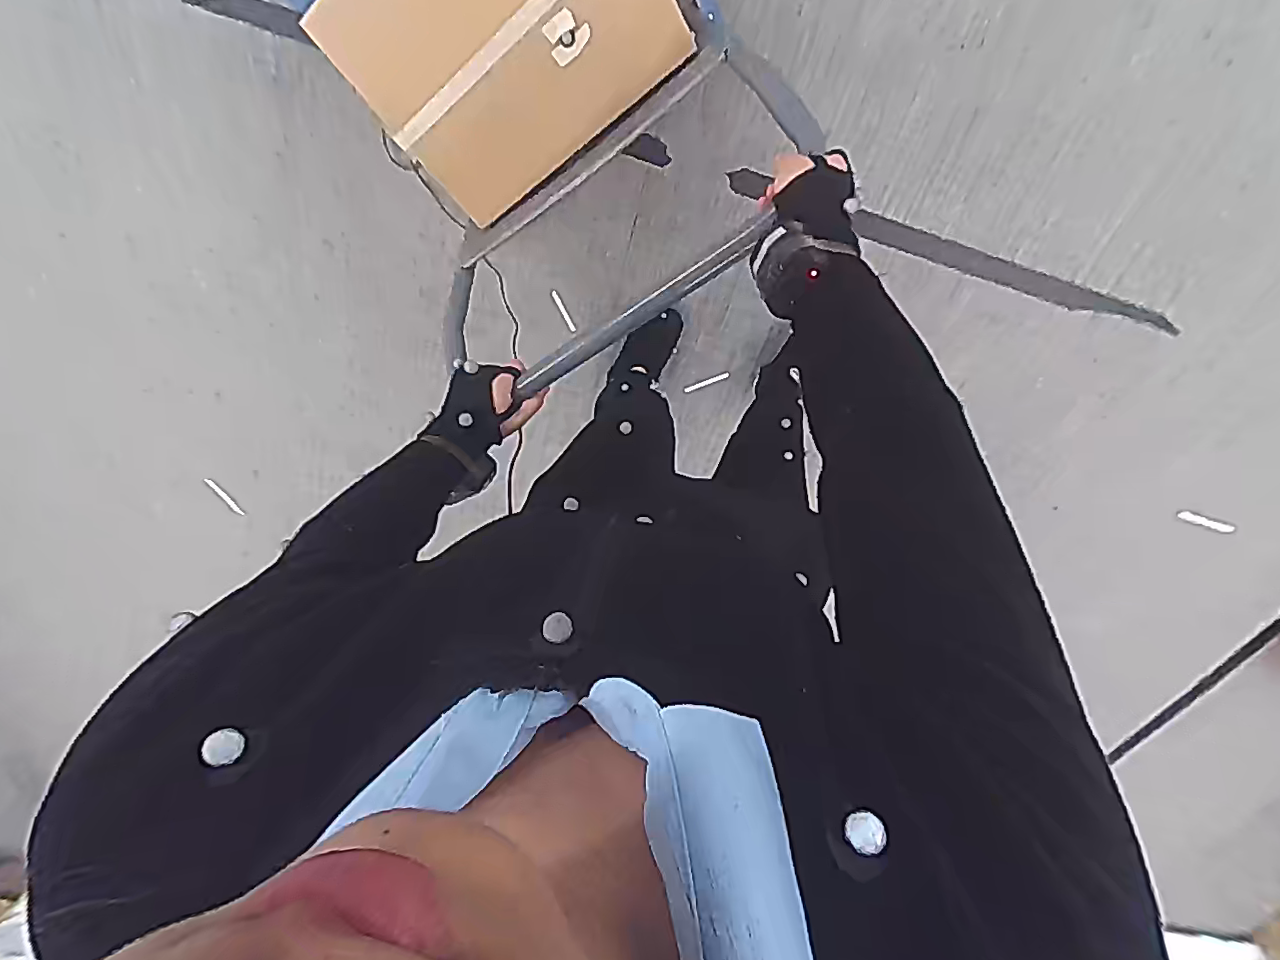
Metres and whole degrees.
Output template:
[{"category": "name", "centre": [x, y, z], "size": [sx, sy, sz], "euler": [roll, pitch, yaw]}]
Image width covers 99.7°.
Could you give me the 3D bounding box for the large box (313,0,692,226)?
[{"category": "large box", "centre": [-0.187, -0.682, 0.814], "size": [0.408, 0.320, 0.320], "euler": [-30, 131, 20]}]
